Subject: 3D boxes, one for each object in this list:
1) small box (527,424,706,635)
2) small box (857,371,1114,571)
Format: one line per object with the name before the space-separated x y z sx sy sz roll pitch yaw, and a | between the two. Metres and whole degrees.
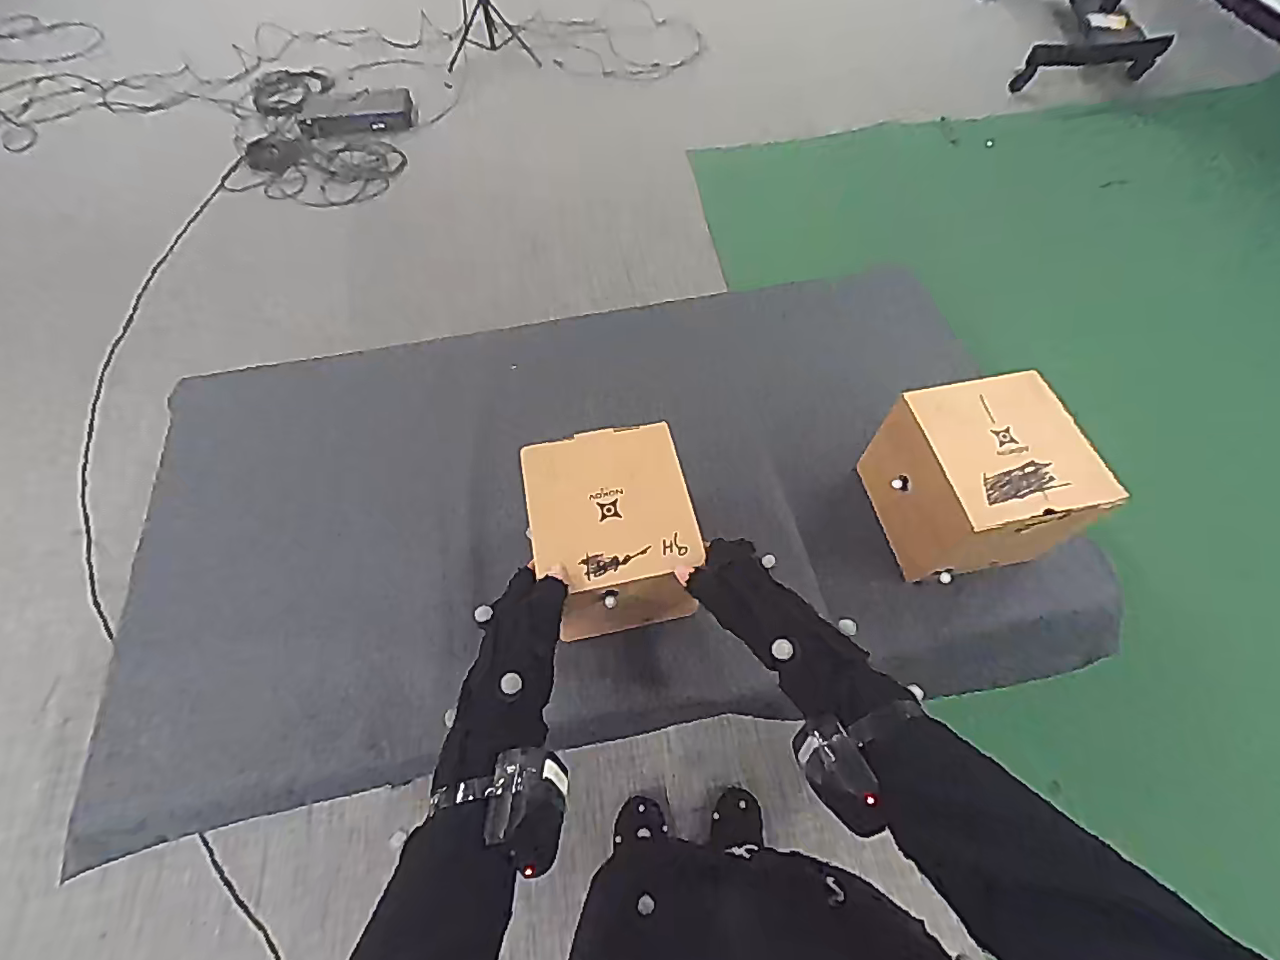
small box | -0.030 0.063 0.628 0.168 0.176 0.179 -11 62 -5
small box | 0.390 -0.001 0.653 0.168 0.176 0.179 -10 61 -4
